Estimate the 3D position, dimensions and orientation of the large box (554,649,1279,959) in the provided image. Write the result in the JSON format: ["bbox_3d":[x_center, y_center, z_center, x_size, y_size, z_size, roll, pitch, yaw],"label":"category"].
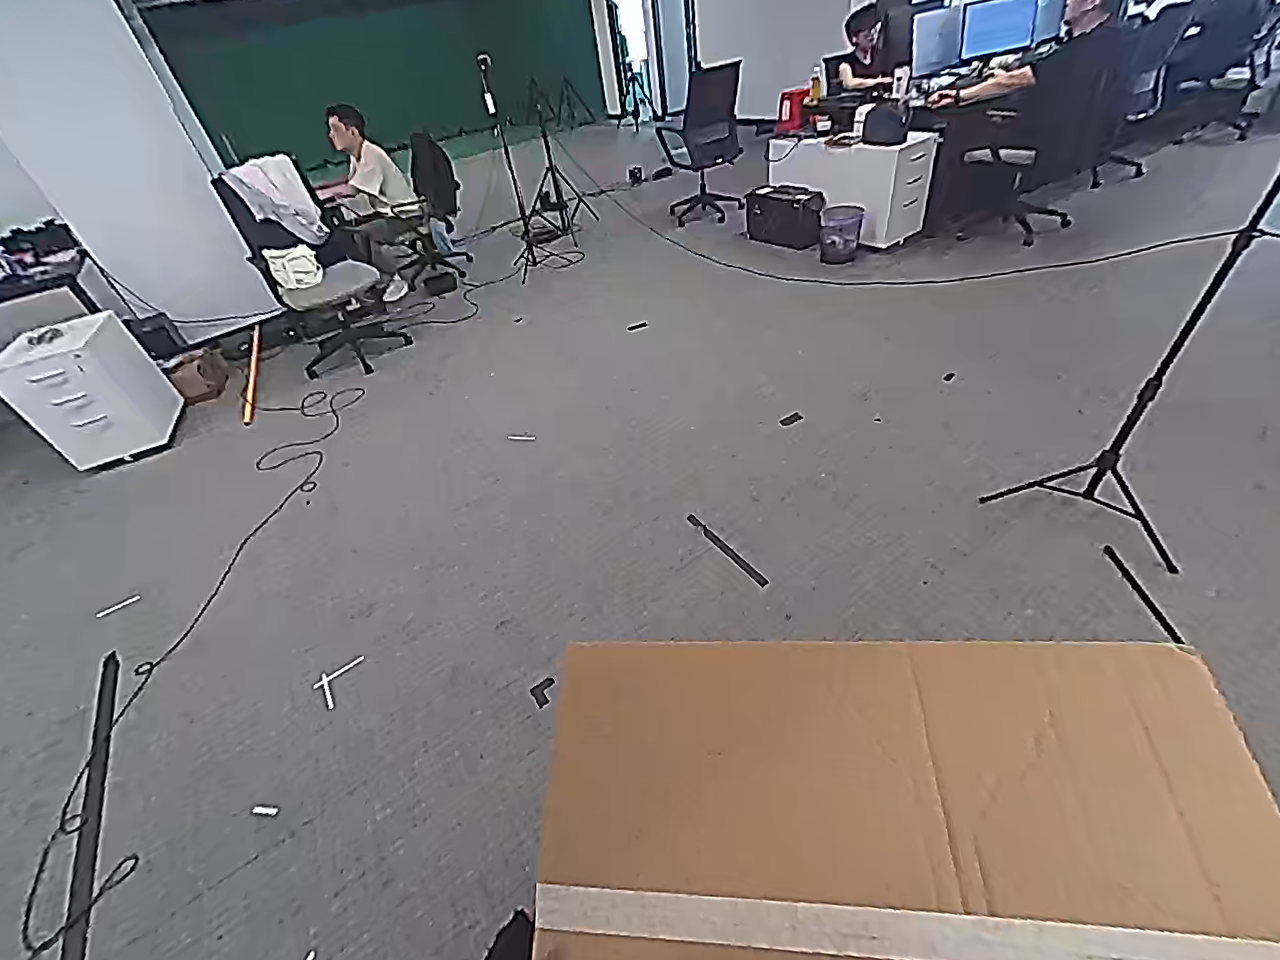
[{"bbox_3d":[0.169,0.330,0.425,0.408,0.320,0.320,-3,59,10],"label":"large box"}]
